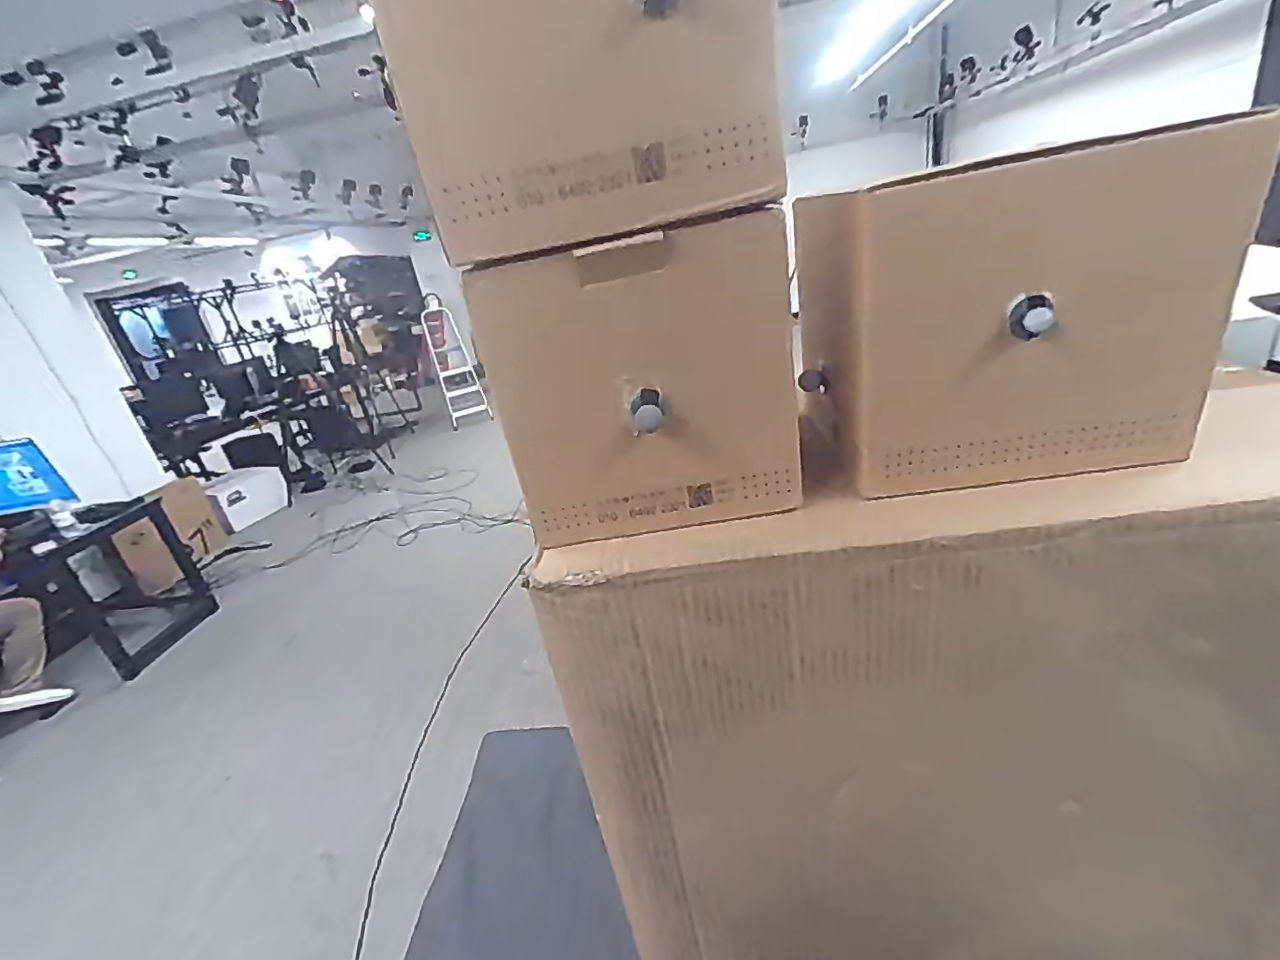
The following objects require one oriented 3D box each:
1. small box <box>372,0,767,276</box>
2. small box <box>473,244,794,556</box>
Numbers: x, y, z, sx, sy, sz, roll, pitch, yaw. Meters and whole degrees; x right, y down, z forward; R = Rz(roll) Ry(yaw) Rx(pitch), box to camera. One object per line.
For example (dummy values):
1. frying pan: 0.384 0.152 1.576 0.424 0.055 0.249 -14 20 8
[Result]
1. small box: -0.028 -0.219 0.310 0.168 0.176 0.179 -8 24 4
2. small box: 0.004 -0.059 0.389 0.168 0.176 0.179 -11 24 3
